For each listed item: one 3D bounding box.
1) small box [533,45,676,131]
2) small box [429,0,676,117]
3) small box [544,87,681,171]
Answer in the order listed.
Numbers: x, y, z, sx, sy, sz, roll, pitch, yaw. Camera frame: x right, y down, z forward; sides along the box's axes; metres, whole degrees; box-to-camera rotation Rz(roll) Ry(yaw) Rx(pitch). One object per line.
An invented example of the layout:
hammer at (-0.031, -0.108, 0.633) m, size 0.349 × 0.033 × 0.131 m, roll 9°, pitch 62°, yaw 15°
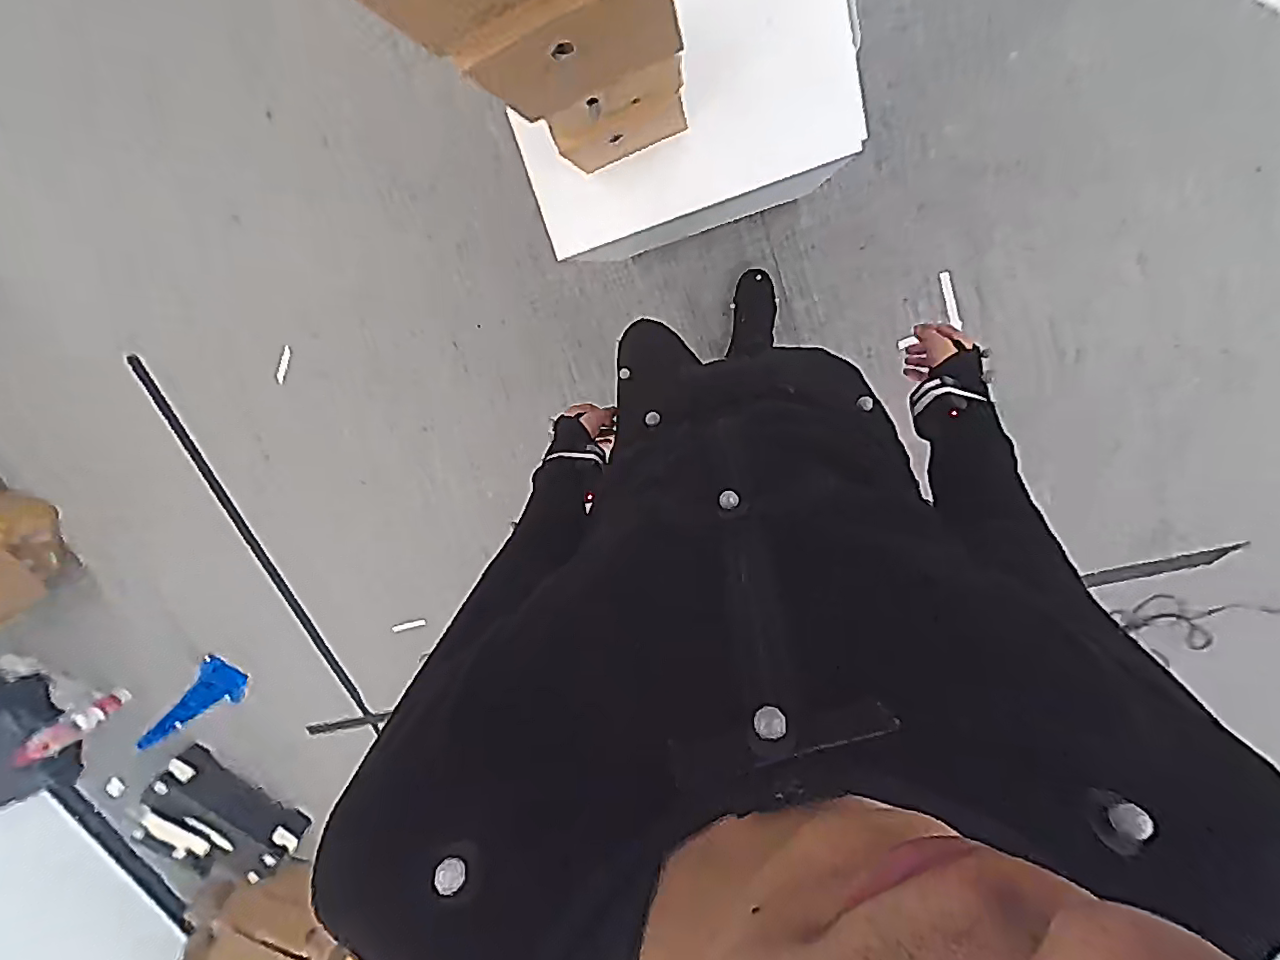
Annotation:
small box at (-0.064, -0.520, 0.603) m, size 0.168 × 0.176 × 0.179 m, roll -16°, pitch 107°, yaw 14°
small box at (-0.079, -0.445, 0.457) m, size 0.179 × 0.176 × 0.168 m, roll -16°, pitch 108°, yaw 14°
small box at (-0.050, -0.563, 0.760) m, size 0.179 × 0.176 × 0.168 m, roll -17°, pitch 108°, yaw 13°
